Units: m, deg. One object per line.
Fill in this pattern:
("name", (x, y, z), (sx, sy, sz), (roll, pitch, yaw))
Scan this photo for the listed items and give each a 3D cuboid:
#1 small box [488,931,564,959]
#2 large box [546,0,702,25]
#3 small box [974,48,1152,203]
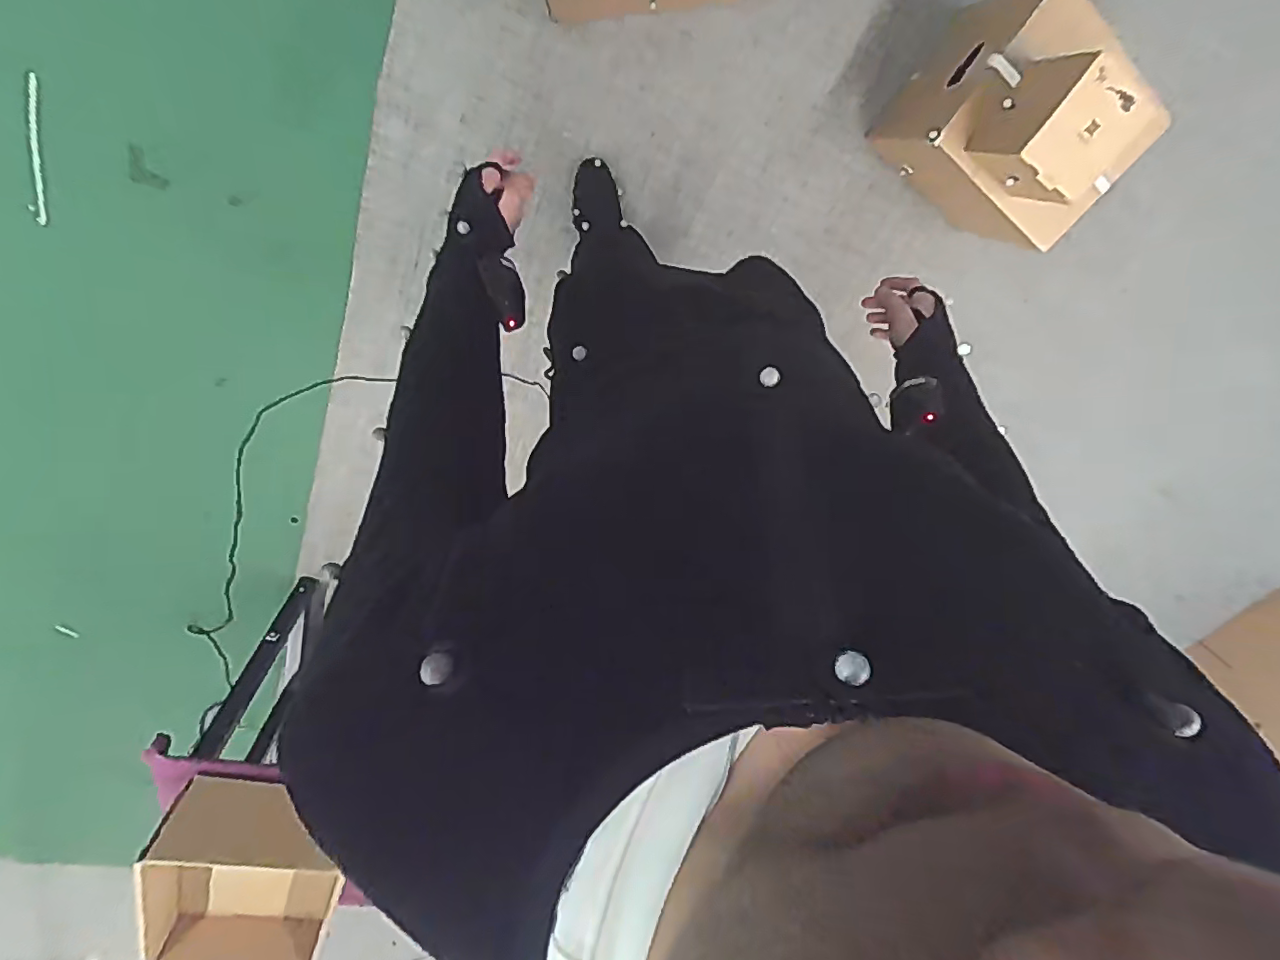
("small box", (-0.315, 1.377, 1.480), (0.179, 0.176, 0.168), (-24, 120, 8))
("large box", (0.002, -1.060, 0.962), (0.408, 0.320, 0.320), (-9, 122, 0))
("small box", (0.772, -0.658, 1.015), (0.168, 0.176, 0.179), (24, 118, -20))
